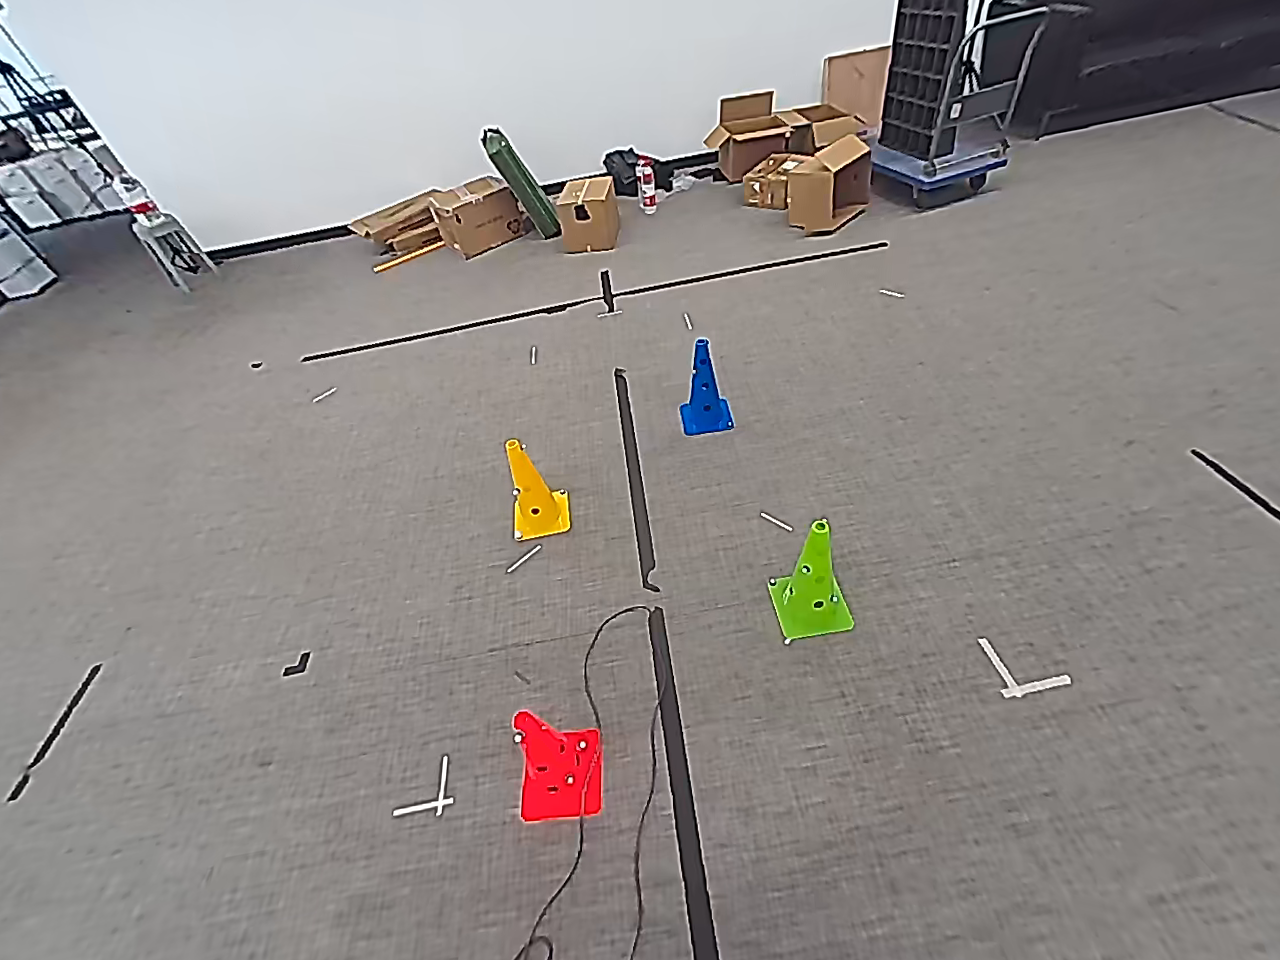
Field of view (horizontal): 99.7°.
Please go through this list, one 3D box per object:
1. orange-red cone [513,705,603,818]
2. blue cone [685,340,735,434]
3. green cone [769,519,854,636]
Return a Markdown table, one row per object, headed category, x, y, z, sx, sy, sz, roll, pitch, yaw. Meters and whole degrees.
| category | x | y | z | sx | sy | sz | roll | pitch | yaw |
| --- | --- | --- | --- | --- | --- | --- | --- | --- | --- |
| orange-red cone | -0.220 | 0.606 | 1.229 | 0.199 | 0.360 | 0.198 | -8 | 44 | 5 |
| blue cone | 0.263 | -0.372 | 2.106 | 0.192 | 0.380 | 0.193 | -7 | 46 | 3 |
| green cone | 0.472 | 0.237 | 1.449 | 0.202 | 0.368 | 0.200 | -9 | 45 | 0 |
